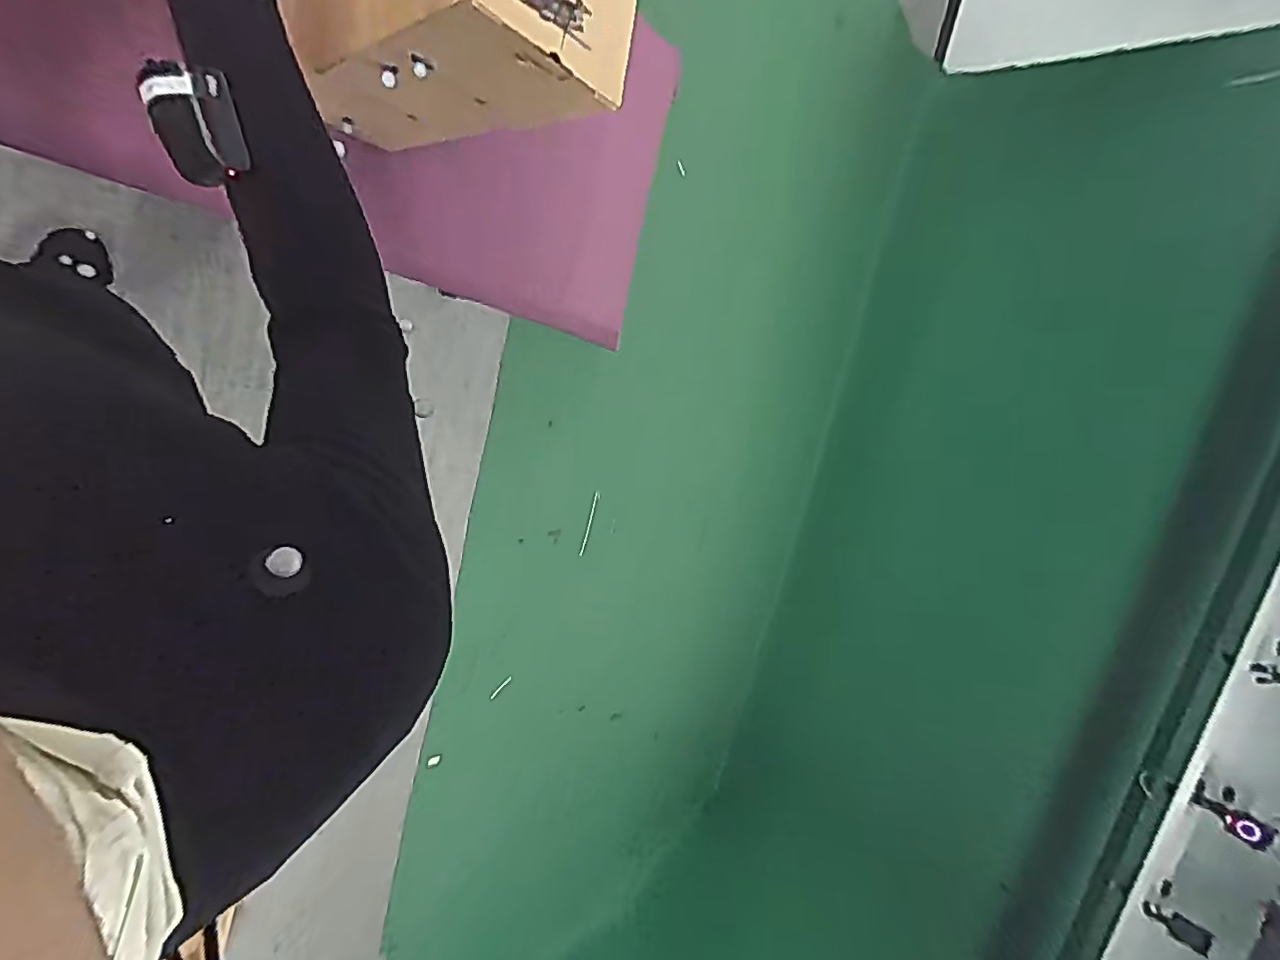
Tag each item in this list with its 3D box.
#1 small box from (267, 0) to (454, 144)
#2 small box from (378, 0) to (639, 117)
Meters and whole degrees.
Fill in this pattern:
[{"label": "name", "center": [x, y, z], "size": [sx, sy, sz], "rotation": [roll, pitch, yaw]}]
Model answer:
[{"label": "small box", "center": [-0.352, -0.563, 0.690], "size": [0.168, 0.176, 0.179], "rotation": [0, 106, -50]}, {"label": "small box", "center": [-0.114, -0.463, 0.486], "size": [0.168, 0.176, 0.179], "rotation": [-2, 106, -51]}]
